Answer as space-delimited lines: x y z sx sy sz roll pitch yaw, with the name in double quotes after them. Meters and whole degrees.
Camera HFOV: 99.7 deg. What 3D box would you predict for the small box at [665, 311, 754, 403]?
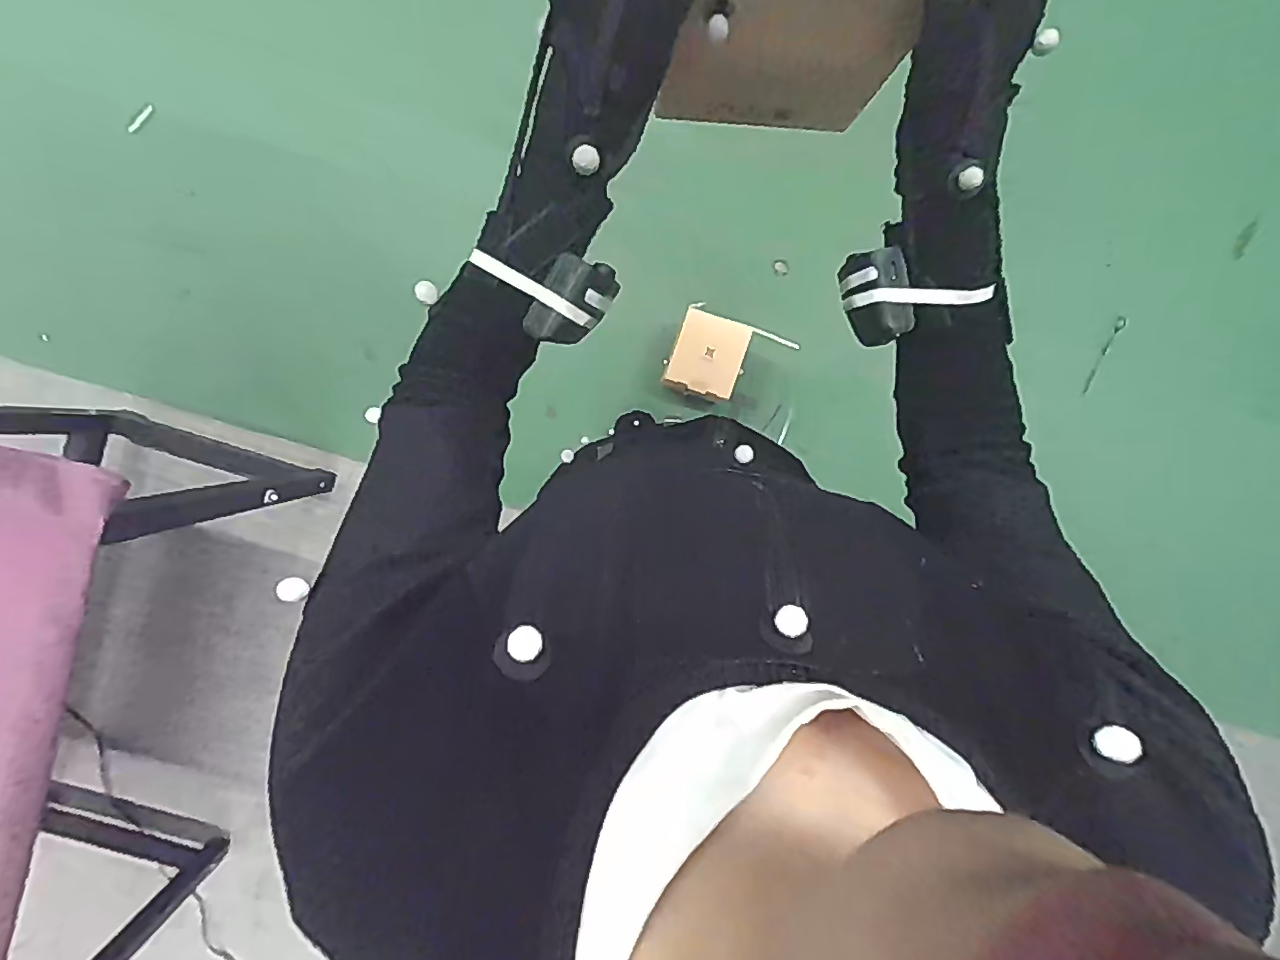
0.167 -0.304 1.370 0.168 0.176 0.179 18 95 -3 "small box"
